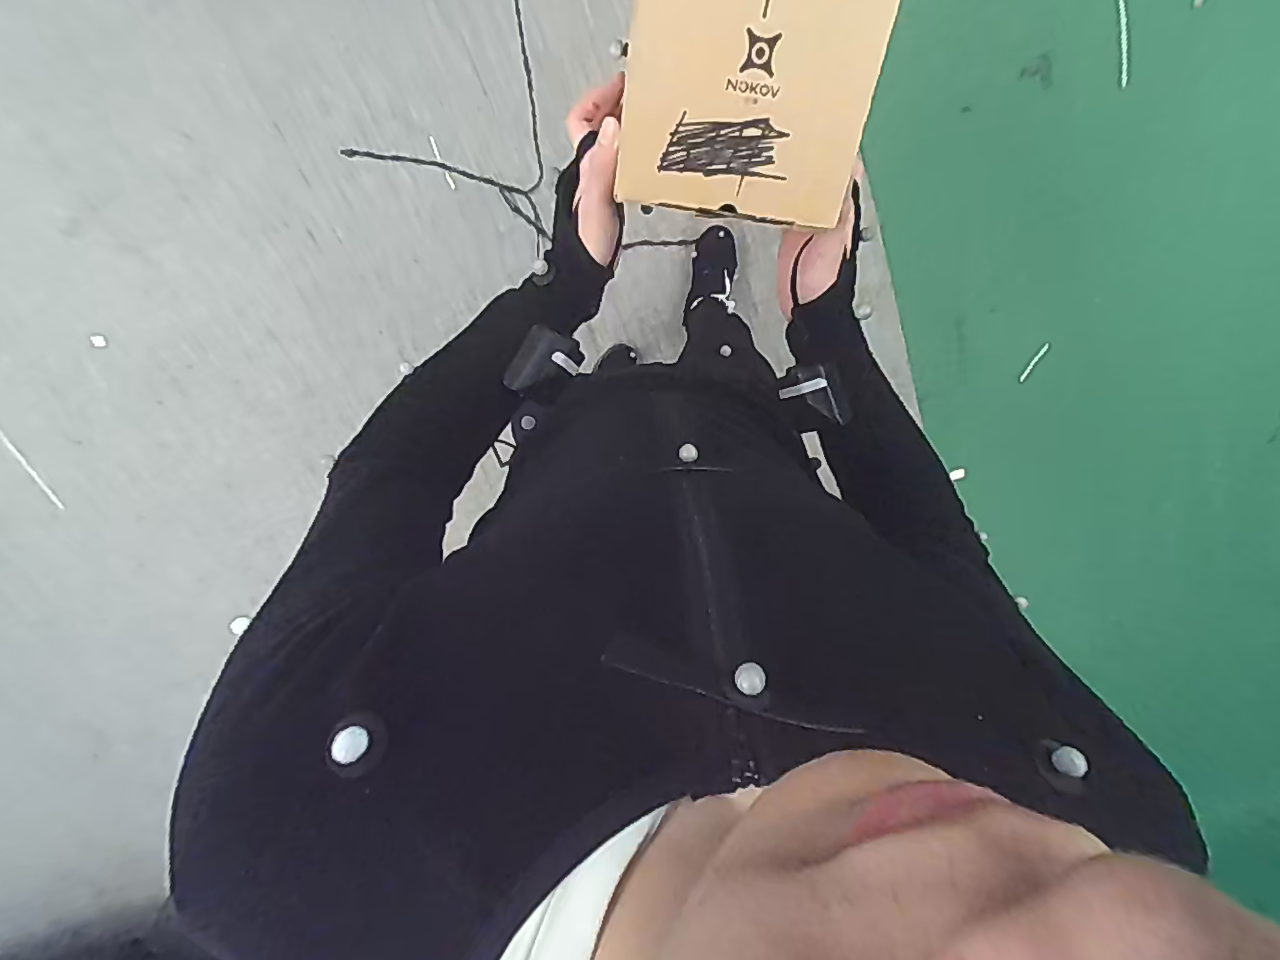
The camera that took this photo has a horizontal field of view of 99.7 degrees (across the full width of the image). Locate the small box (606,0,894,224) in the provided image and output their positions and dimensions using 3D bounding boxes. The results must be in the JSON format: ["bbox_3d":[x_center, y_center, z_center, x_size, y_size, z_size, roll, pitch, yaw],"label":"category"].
[{"bbox_3d":[0.066,-0.306,0.411,0.168,0.176,0.179,5,118,-5],"label":"small box"}]

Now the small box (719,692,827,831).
[{"bbox_3d":[0.273,0.584,1.134,0.168,0.176,0.179,-17,108,4],"label":"small box"}]
